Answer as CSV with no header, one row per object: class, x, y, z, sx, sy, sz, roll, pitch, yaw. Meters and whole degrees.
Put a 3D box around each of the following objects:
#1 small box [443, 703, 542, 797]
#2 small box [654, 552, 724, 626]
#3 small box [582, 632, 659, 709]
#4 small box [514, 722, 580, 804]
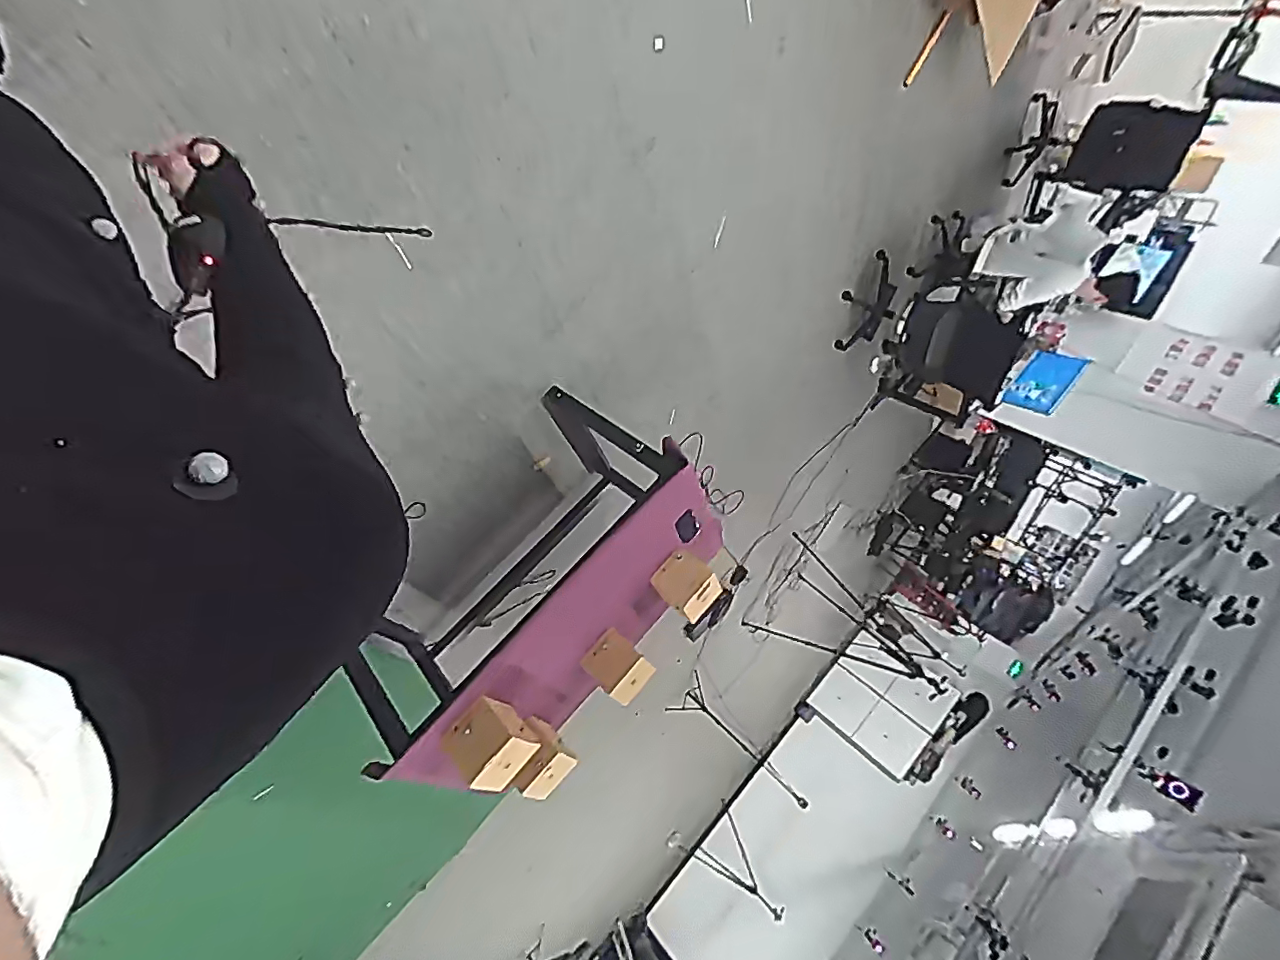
small box,-0.415,0.757,1.524,0.168,0.176,0.179,-48,144,-14
small box,0.173,0.383,1.922,0.168,0.176,0.179,-46,145,-13
small box,-0.067,0.653,1.862,0.168,0.176,0.179,-47,144,-13
small box,-0.330,0.925,1.770,0.168,0.176,0.179,-46,145,-15
